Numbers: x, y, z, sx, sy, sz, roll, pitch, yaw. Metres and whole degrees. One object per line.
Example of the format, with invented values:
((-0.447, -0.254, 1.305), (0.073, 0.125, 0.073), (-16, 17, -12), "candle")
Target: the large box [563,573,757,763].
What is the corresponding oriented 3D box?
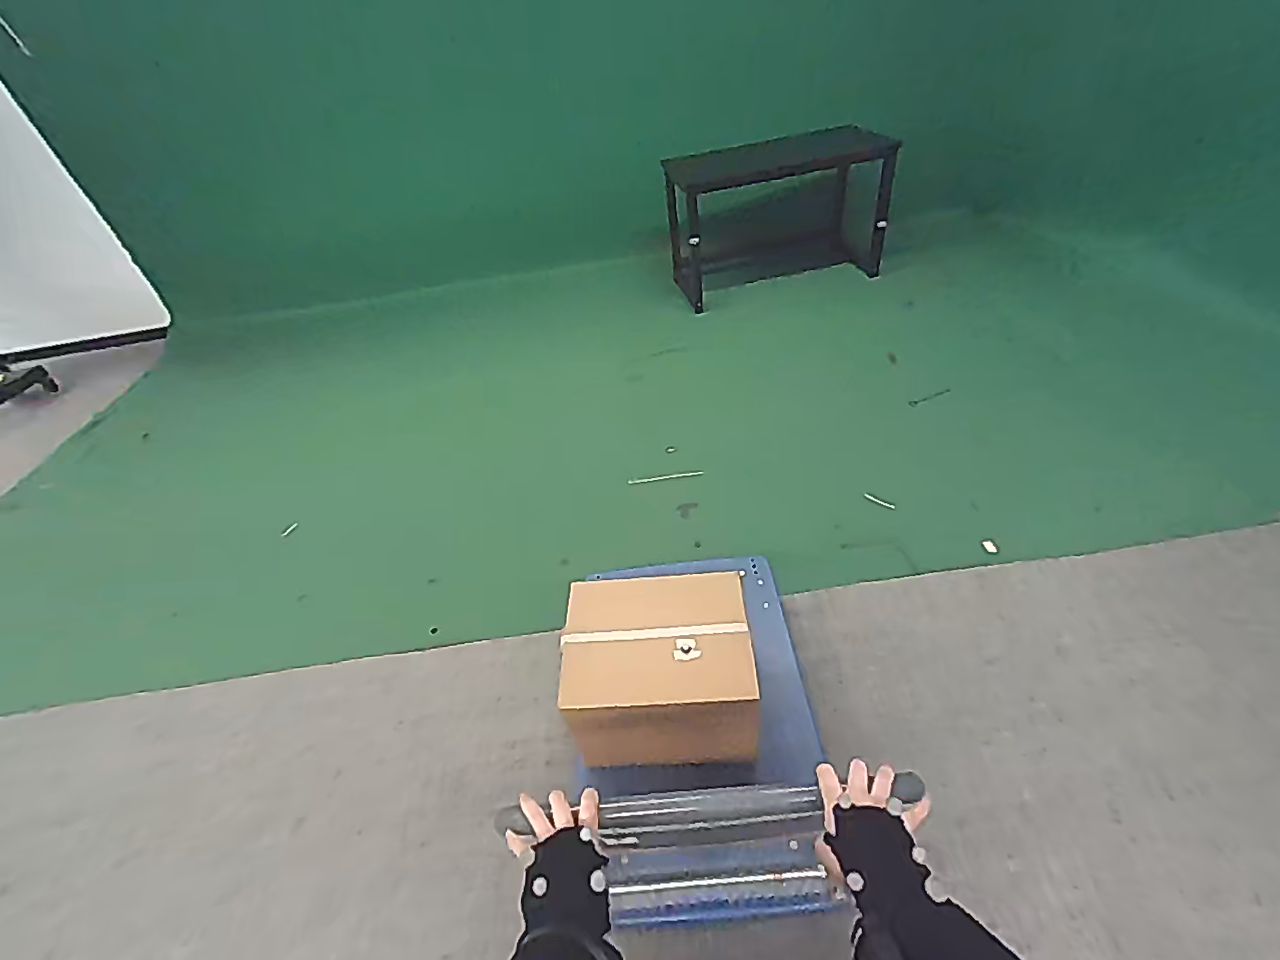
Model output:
((0.049, 0.452, 1.297), (0.408, 0.320, 0.320), (-4, 42, 4), "large box")
